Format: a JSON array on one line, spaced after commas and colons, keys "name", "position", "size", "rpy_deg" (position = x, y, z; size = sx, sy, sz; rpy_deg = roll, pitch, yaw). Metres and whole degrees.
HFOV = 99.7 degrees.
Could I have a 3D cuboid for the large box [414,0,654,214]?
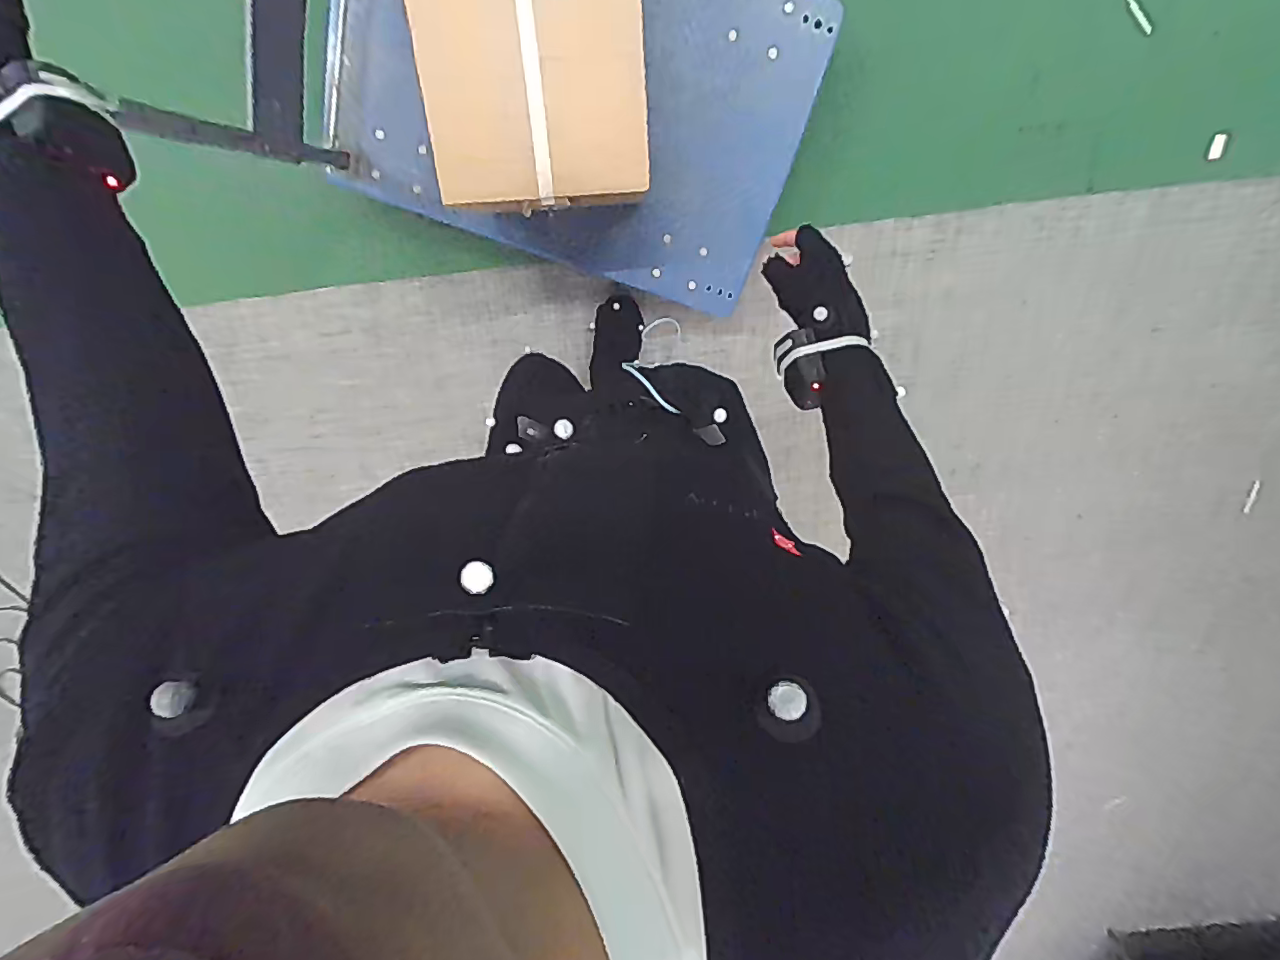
[{"name": "large box", "position": [-0.146, -0.669, 0.873], "size": [0.320, 0.320, 0.408], "rpy_deg": [-3, 113, 0]}]
